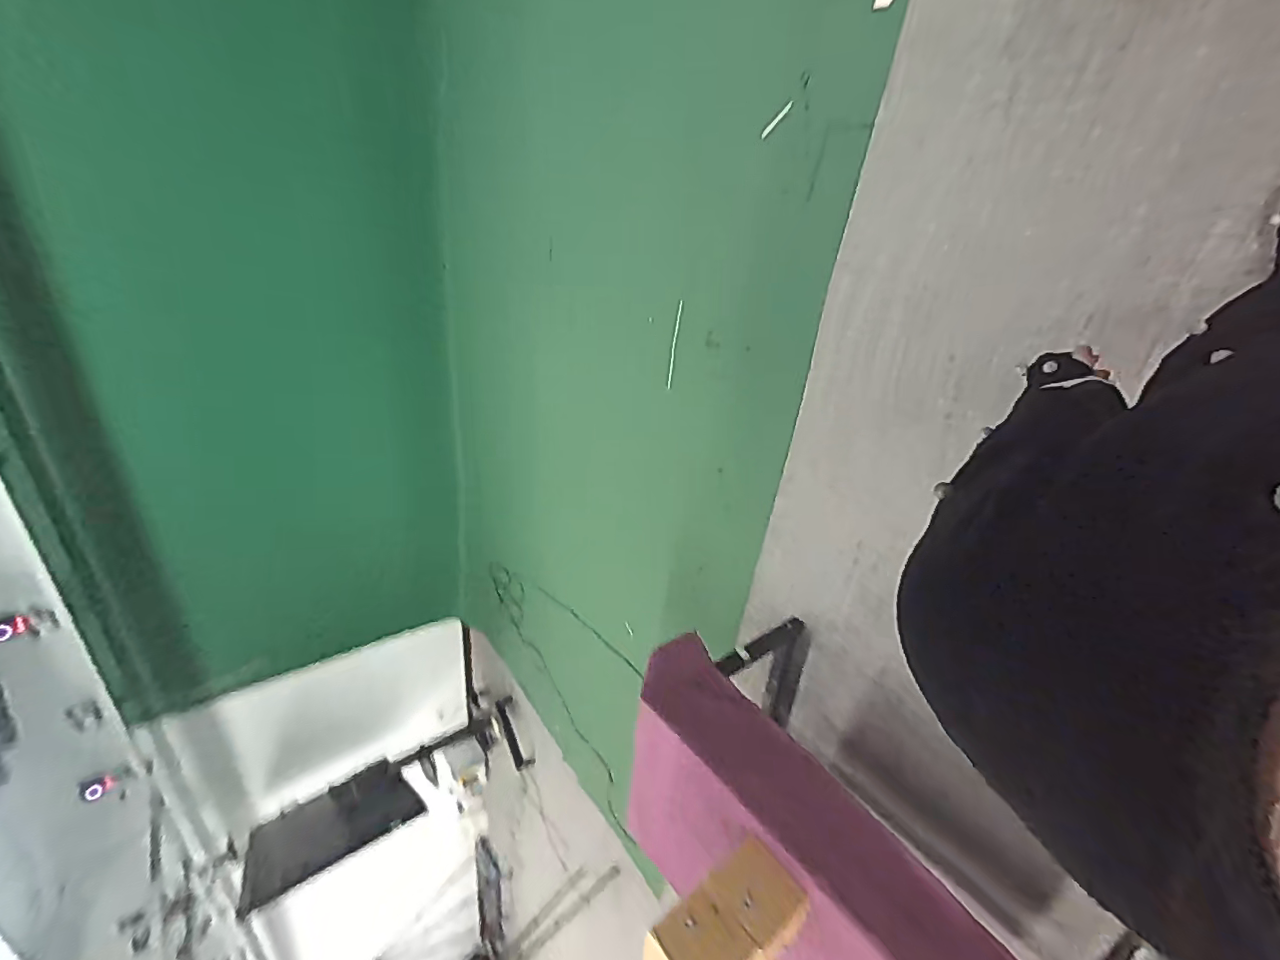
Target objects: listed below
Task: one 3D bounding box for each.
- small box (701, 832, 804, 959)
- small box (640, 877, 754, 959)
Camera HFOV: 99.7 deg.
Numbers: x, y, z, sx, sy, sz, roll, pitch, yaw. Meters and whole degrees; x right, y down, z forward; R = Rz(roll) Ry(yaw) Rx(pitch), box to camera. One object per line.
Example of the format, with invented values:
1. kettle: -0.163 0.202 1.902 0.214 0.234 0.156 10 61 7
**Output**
1. small box: 0.249 0.967 1.244 0.179 0.176 0.168 34 127 42
2. small box: 0.120 1.007 1.151 0.168 0.176 0.179 32 127 44
